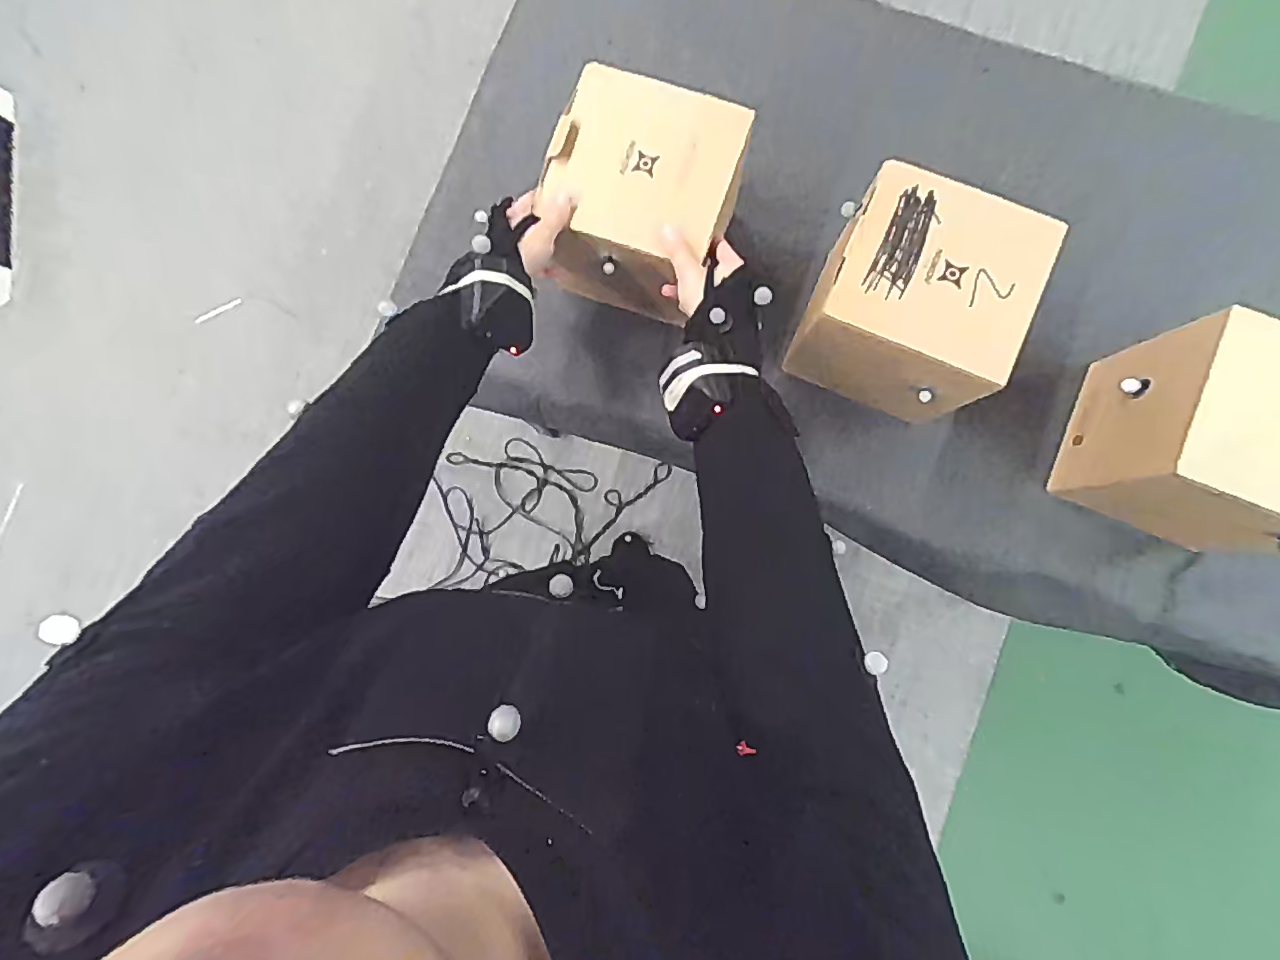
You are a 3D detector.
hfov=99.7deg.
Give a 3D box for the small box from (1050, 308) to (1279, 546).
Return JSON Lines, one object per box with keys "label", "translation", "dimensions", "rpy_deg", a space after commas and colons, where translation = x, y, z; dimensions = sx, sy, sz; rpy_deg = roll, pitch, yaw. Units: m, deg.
{"label": "small box", "translation": [0.567, -0.036, 0.539], "dimensions": [0.179, 0.176, 0.168], "rpy_deg": [23, 85, 4]}
